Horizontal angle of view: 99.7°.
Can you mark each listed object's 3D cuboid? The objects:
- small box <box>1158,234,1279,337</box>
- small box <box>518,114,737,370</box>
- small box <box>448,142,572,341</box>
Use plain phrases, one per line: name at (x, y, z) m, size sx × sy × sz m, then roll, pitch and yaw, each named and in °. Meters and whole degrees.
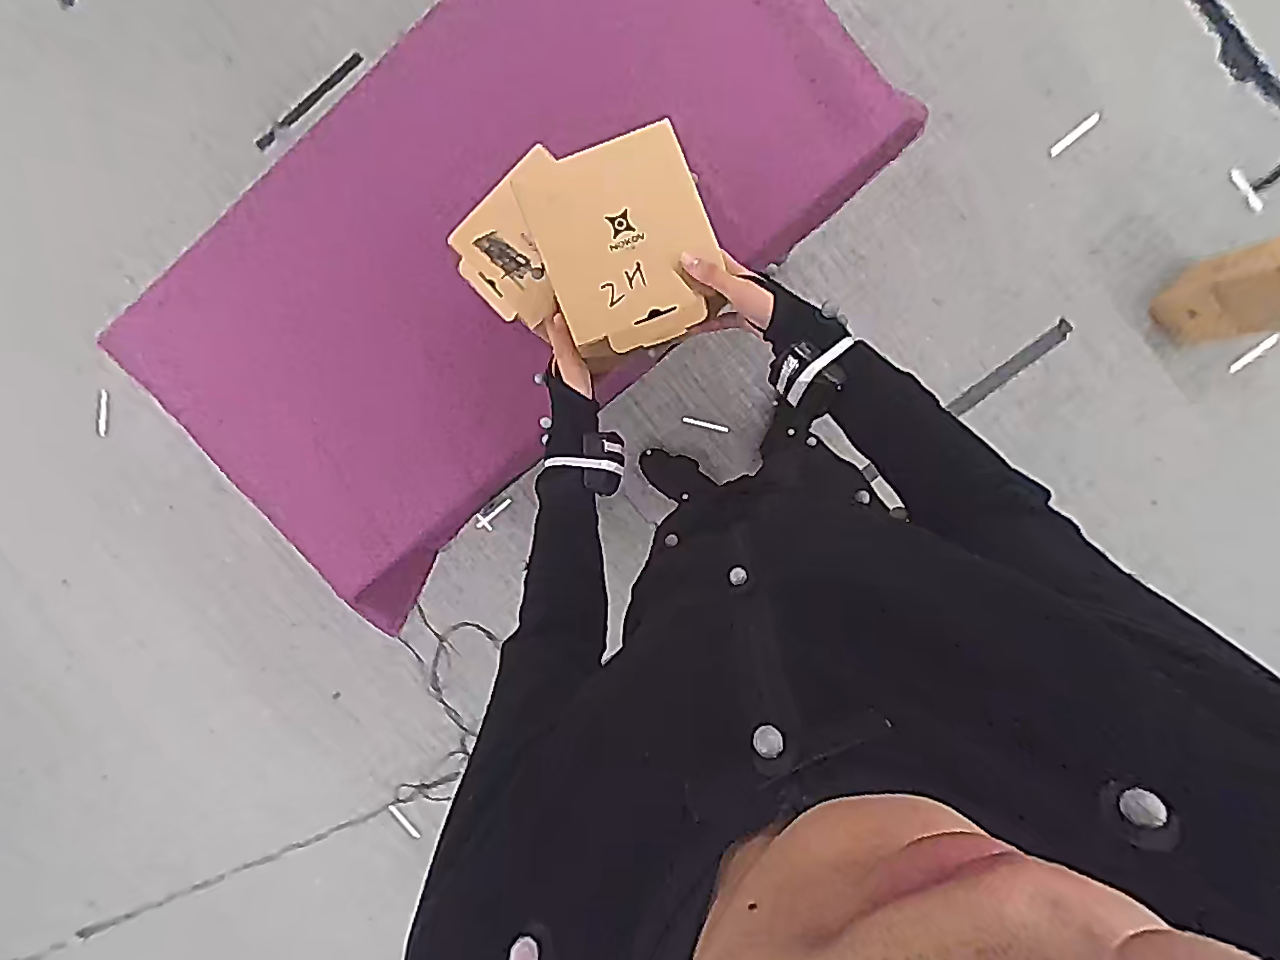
small box at (1.534, -0.500, 1.423) m, size 0.179 × 0.176 × 0.168 m, roll -44°, pitch 93°, yaw 6°
small box at (-0.015, -0.240, 0.591) m, size 0.168 × 0.176 × 0.179 m, roll -22°, pitch 92°, yaw -1°
small box at (-0.133, -0.324, 0.781) m, size 0.179 × 0.176 × 0.168 m, roll -44°, pitch 93°, yaw 6°
